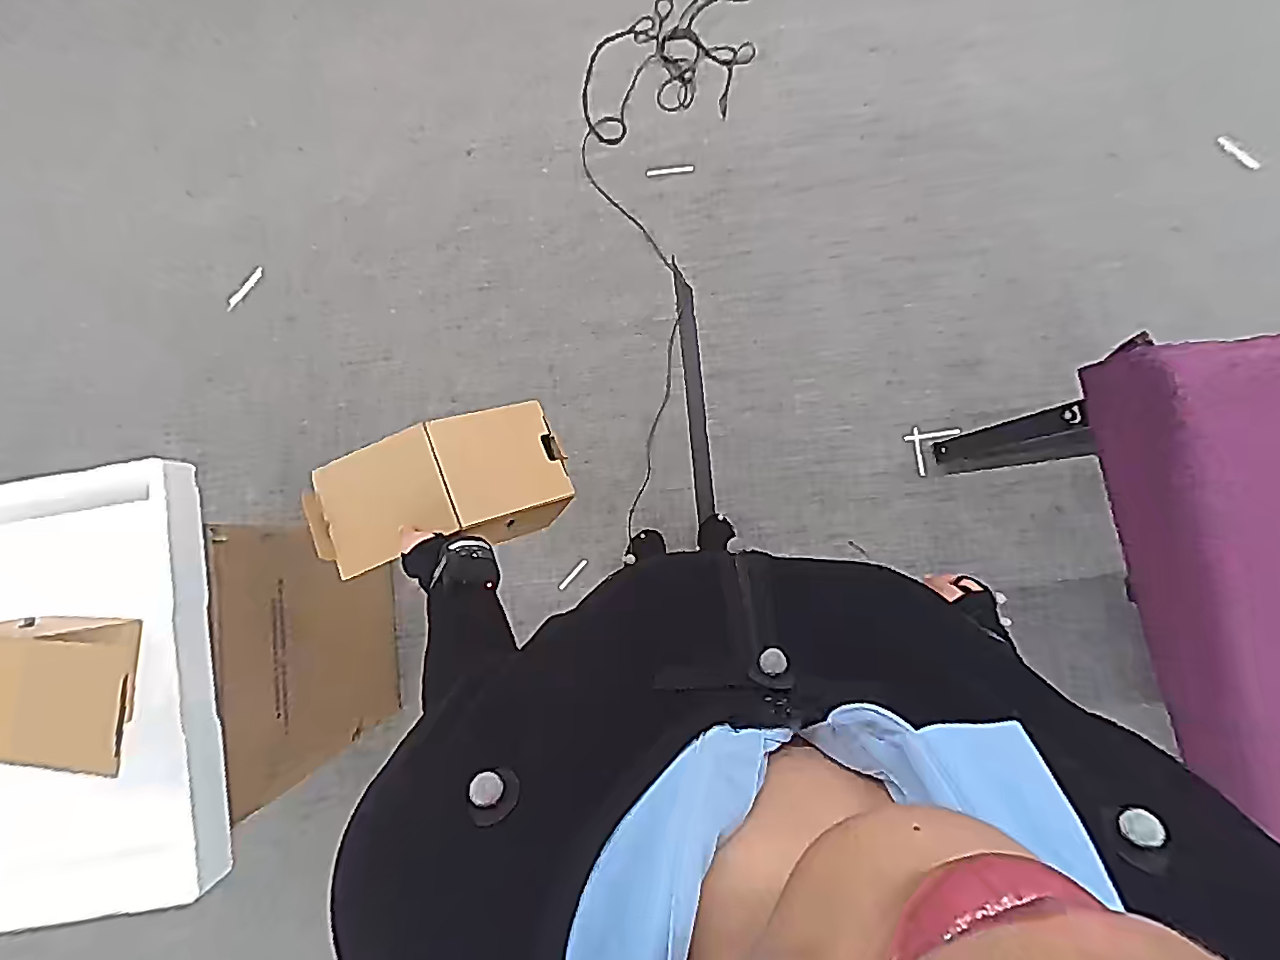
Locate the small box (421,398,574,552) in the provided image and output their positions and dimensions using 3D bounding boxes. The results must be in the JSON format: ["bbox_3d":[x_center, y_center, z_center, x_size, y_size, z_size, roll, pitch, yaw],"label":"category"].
[{"bbox_3d":[-0.227,-0.003,0.833,0.179,0.176,0.168,-16,77,-29],"label":"small box"}]
